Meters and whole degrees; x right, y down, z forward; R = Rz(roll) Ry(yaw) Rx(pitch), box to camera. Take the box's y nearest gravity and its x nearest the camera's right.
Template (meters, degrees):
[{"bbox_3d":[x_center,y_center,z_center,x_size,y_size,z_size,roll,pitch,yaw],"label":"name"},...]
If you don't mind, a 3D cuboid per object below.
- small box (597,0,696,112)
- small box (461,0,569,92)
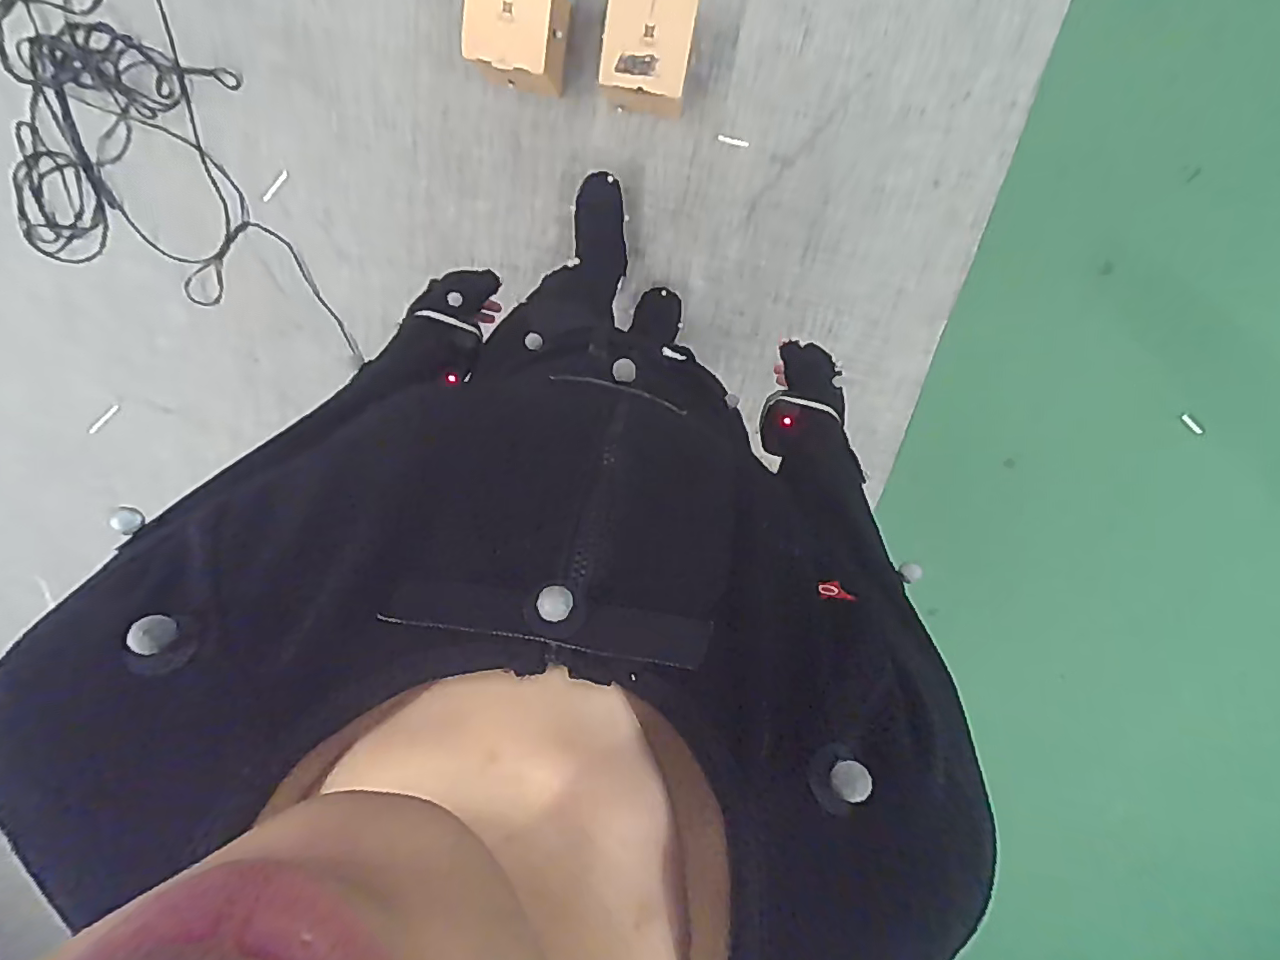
[{"bbox_3d":[0.017,-0.870,1.087,0.168,0.176,0.179,11,111,-1],"label":"small box"},{"bbox_3d":[-0.244,-0.921,1.087,0.168,0.176,0.179,12,112,-1],"label":"small box"}]
